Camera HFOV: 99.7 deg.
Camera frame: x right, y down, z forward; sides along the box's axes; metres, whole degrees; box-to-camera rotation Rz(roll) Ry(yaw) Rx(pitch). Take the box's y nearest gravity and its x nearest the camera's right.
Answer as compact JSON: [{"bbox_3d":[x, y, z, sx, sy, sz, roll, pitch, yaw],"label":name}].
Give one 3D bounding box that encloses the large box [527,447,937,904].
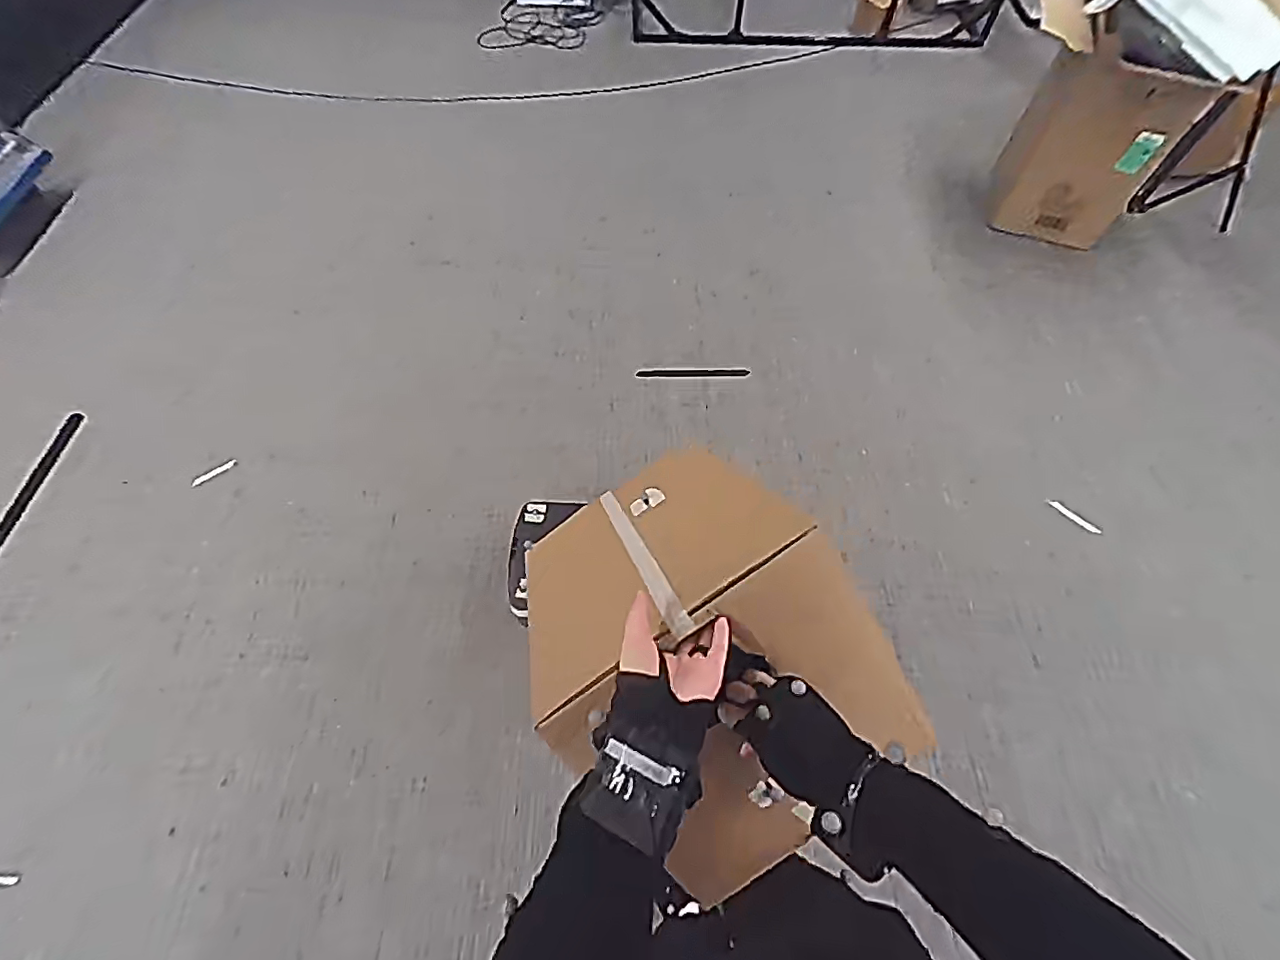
[{"bbox_3d":[0.075,0.197,0.702,0.320,0.408,0.320,-35,109,-3],"label":"large box"}]
